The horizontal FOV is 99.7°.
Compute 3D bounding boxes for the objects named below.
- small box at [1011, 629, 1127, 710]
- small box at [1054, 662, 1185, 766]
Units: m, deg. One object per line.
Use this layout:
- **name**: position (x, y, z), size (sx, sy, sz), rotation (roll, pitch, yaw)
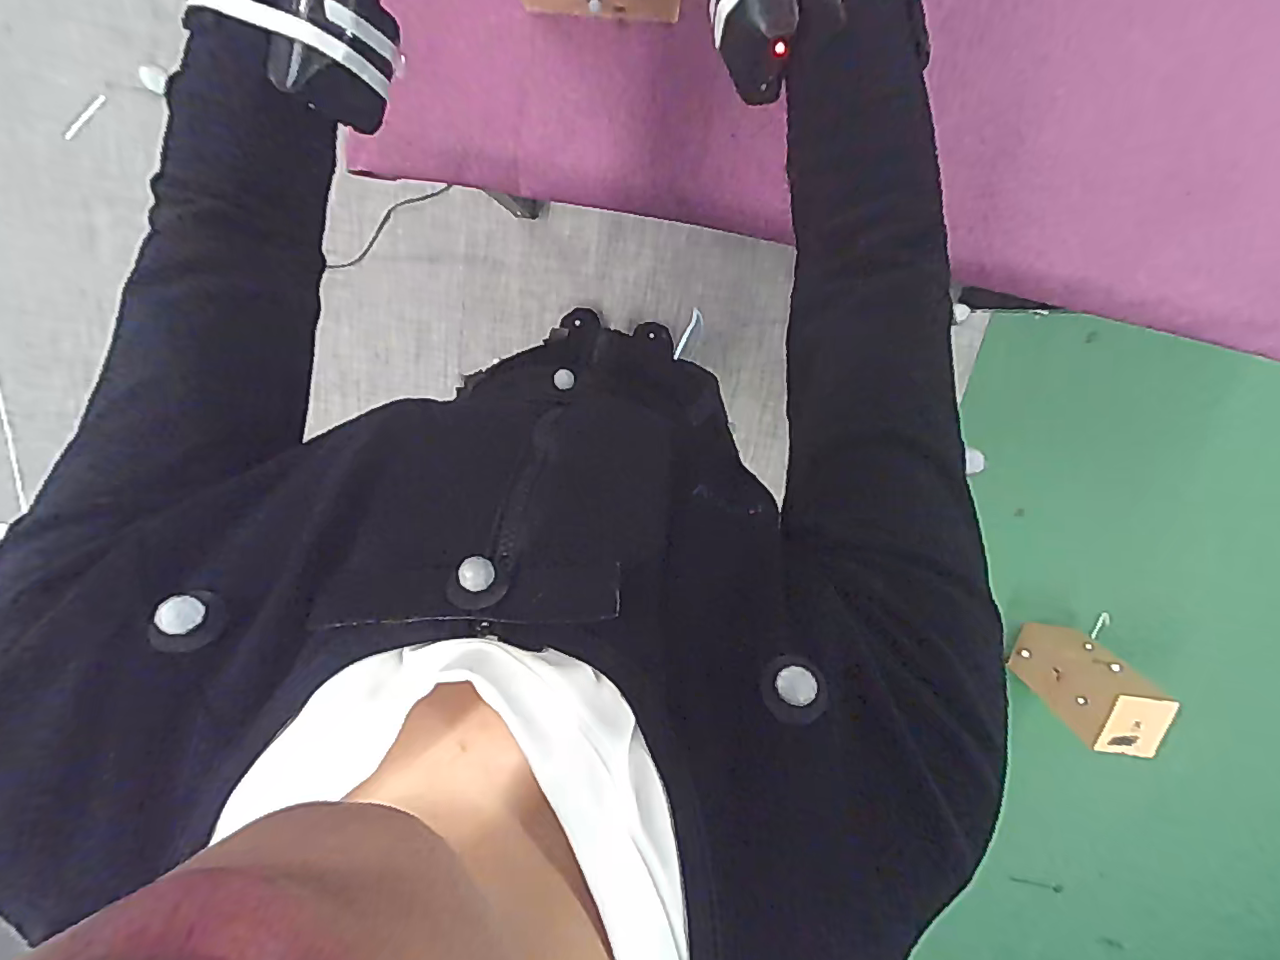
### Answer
- **small box**: position (1.253, 0.561, 1.593), size (0.179, 0.176, 0.168), rotation (9, 107, -3)
- **small box**: position (1.256, 0.617, 1.436), size (0.168, 0.176, 0.179), rotation (11, 108, -6)
